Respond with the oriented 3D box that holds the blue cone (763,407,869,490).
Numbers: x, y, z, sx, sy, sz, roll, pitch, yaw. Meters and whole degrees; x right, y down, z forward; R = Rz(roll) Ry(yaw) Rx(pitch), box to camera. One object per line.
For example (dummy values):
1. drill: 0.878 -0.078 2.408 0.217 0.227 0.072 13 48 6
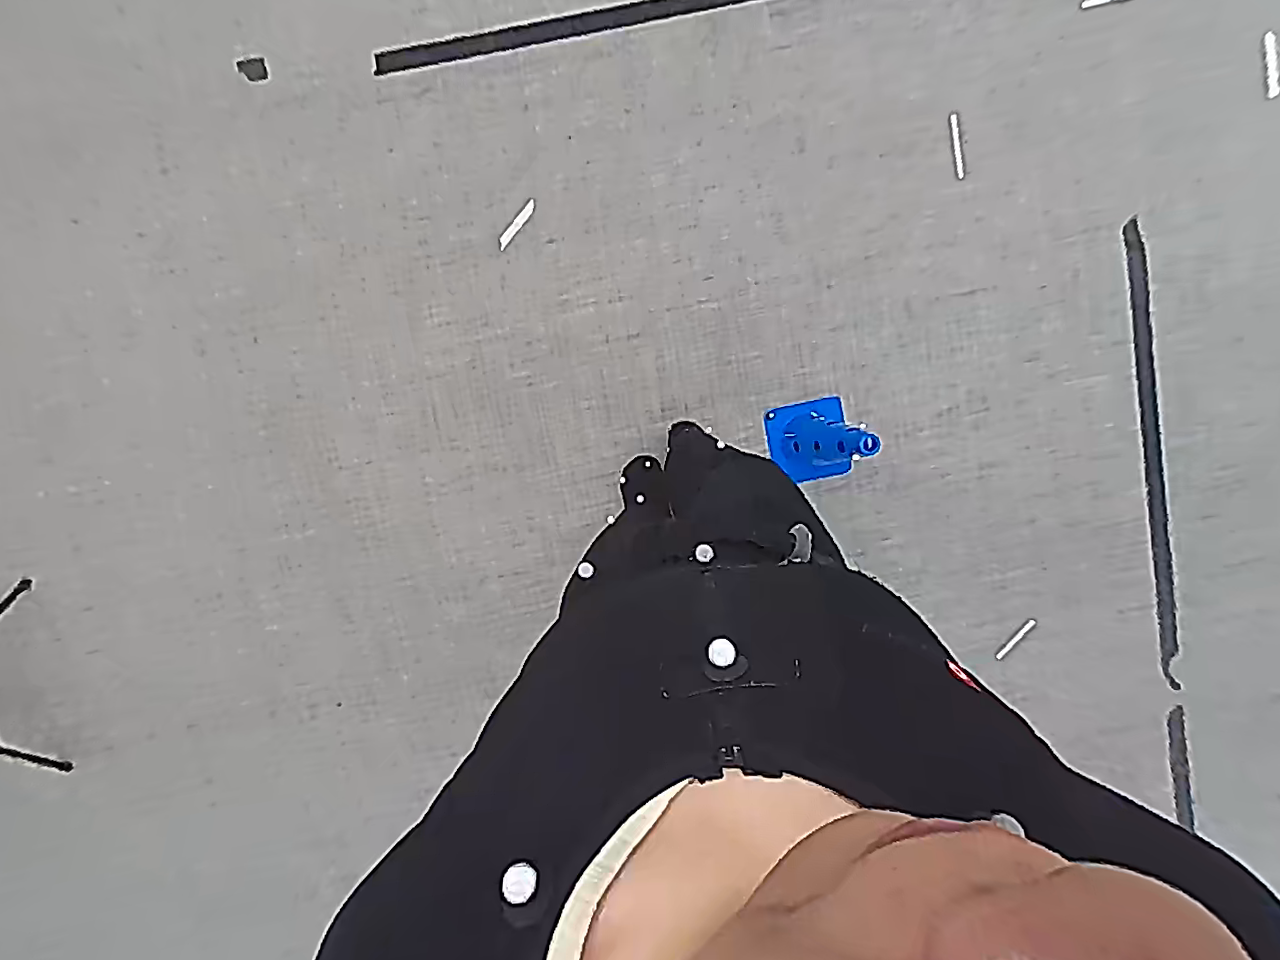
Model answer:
1. blue cone: 0.416 -0.066 1.189 0.192 0.380 0.193 -10 95 0
